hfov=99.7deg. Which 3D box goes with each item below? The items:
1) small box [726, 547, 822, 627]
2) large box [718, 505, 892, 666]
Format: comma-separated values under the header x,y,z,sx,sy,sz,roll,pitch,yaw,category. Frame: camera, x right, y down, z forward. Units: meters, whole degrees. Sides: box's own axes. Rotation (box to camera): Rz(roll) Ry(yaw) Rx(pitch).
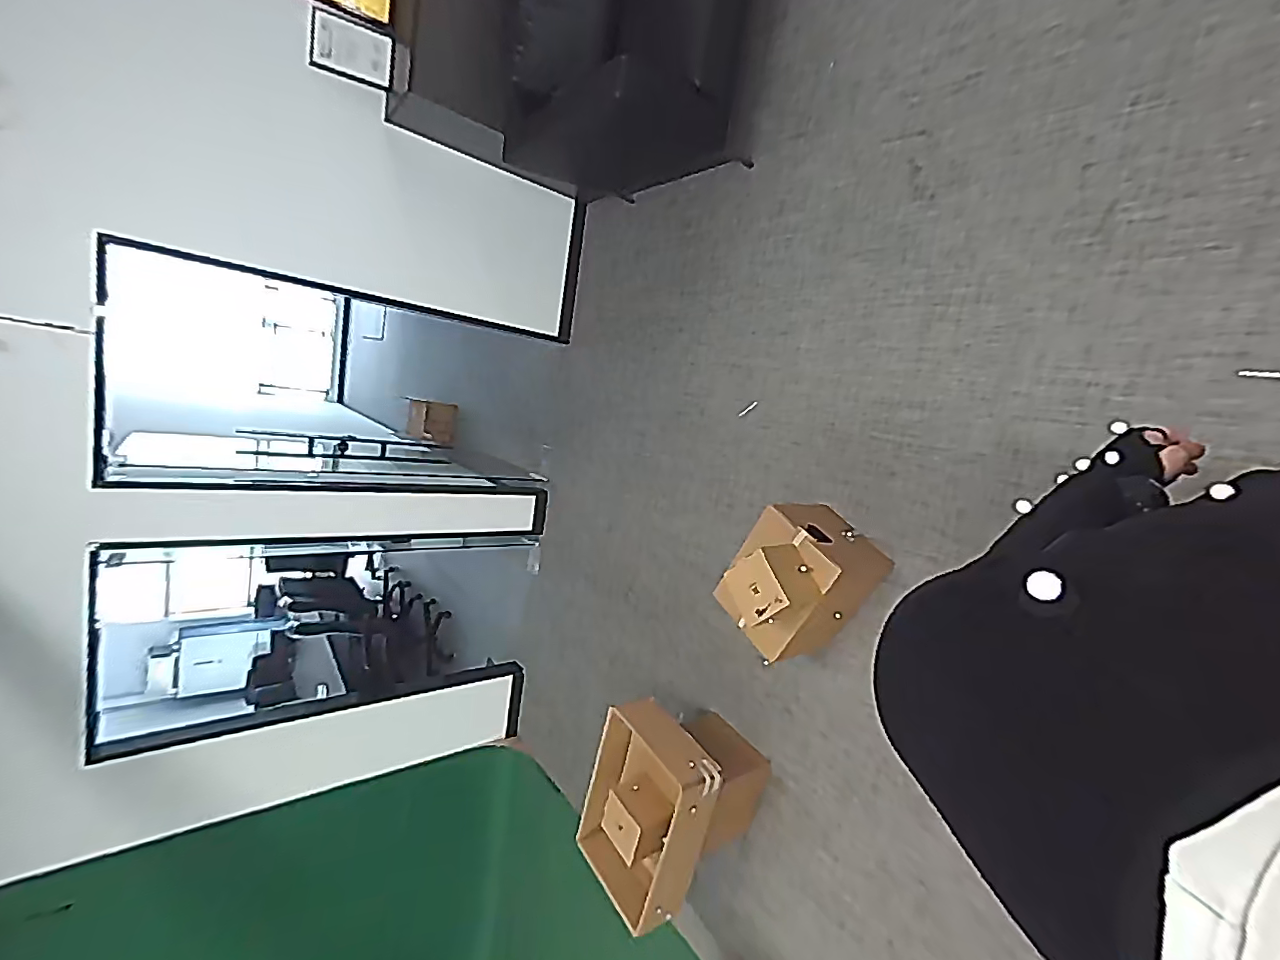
x,y,z,sx,sy,sz,roll,pitch,yaw,category
0.387,0.305,1.563,0.168,0.176,0.179,-47,55,39,small box
0.532,0.328,1.773,0.320,0.320,0.408,49,125,41,large box
